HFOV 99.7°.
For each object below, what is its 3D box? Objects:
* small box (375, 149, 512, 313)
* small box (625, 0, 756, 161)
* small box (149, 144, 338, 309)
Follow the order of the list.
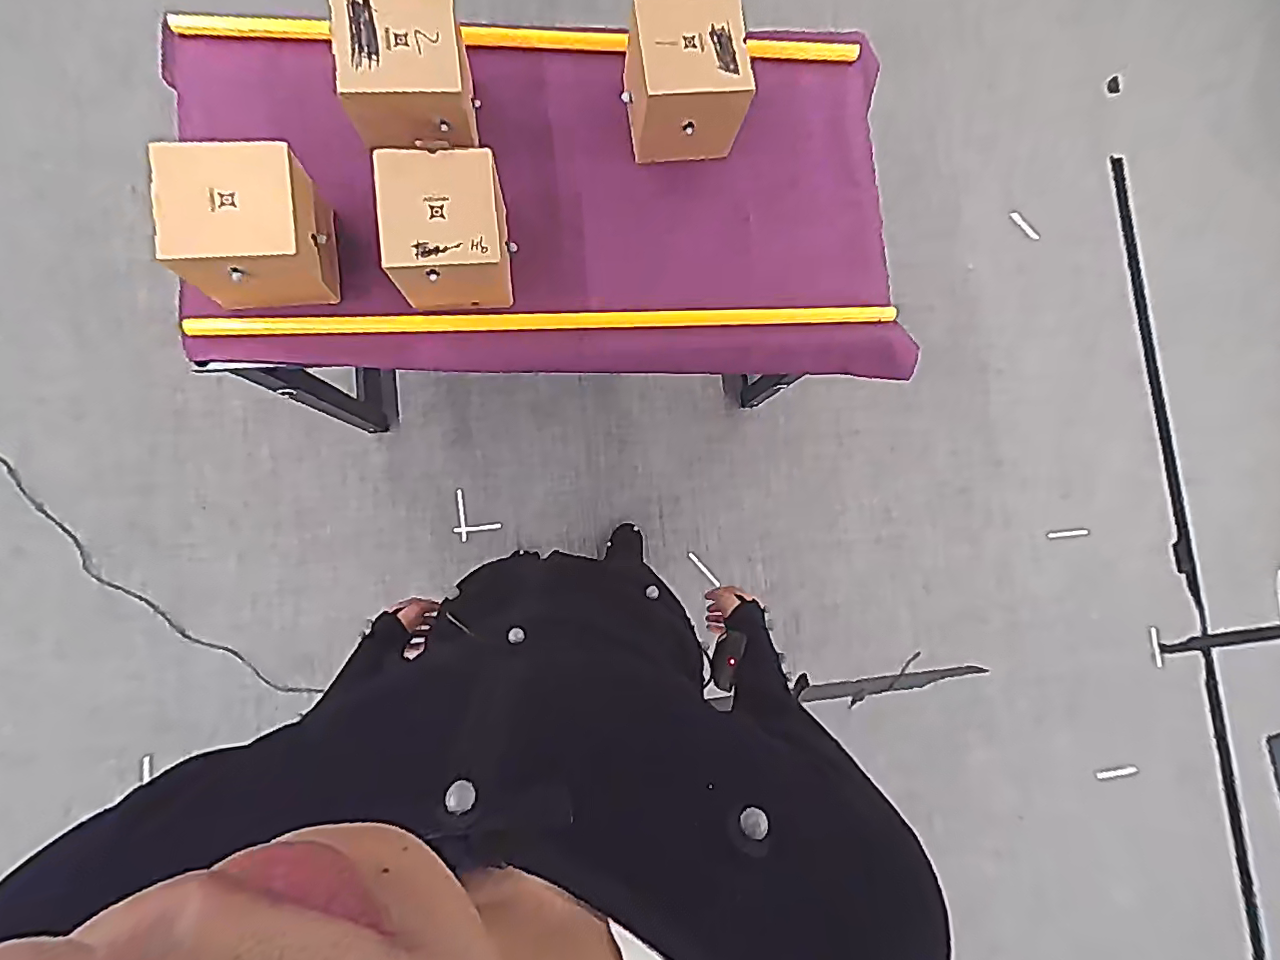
[{"bbox_3d":[-0.296,-0.380,0.844,0.168,0.176,0.179,-5,86,-7],"label":"small box"},{"bbox_3d":[0.077,-0.669,0.910,0.179,0.176,0.168,-8,88,-6],"label":"small box"},{"bbox_3d":[-0.574,-0.368,0.809,0.179,0.176,0.168,-6,86,-8],"label":"small box"}]
